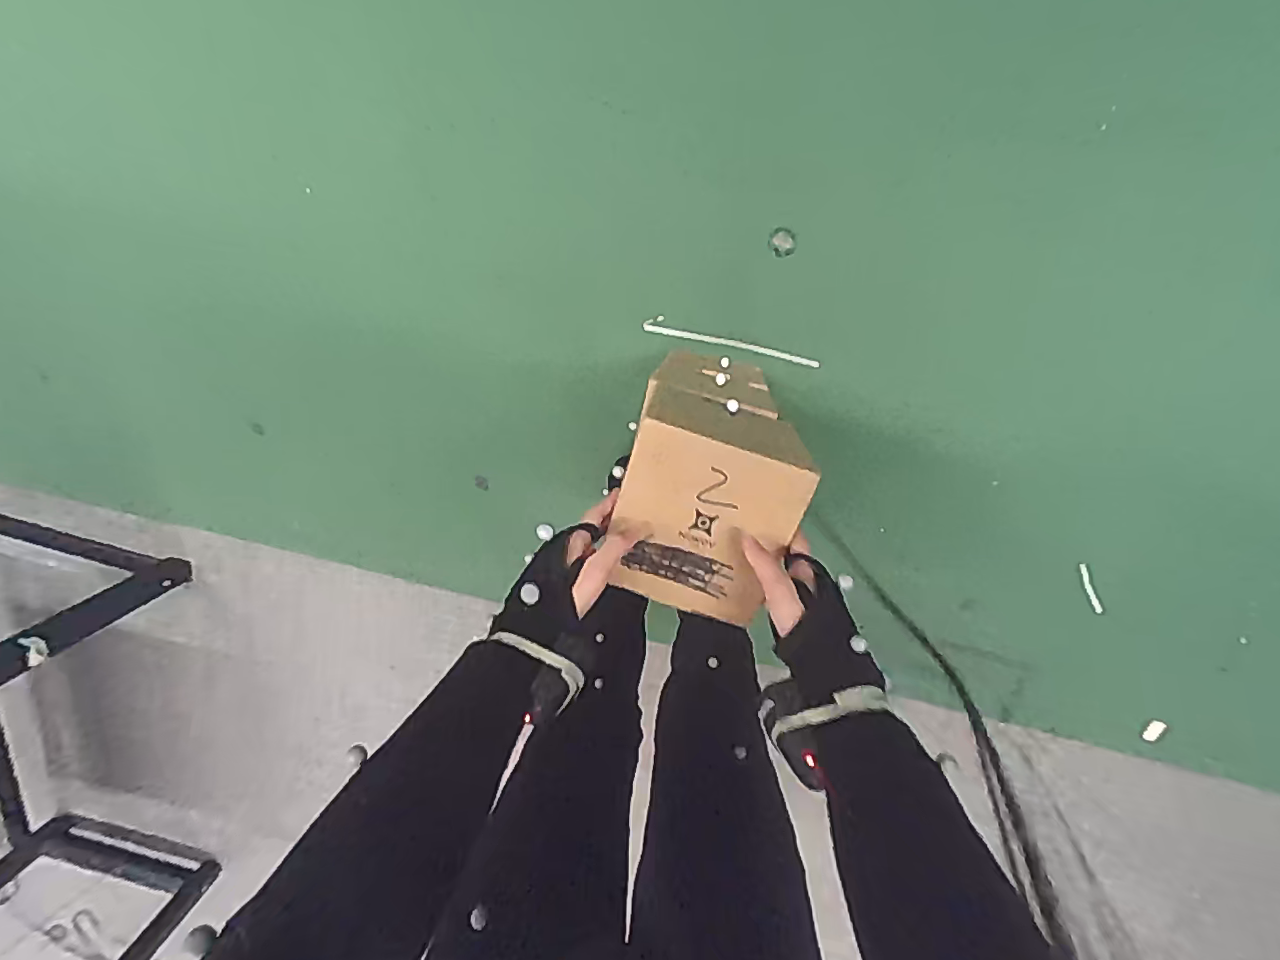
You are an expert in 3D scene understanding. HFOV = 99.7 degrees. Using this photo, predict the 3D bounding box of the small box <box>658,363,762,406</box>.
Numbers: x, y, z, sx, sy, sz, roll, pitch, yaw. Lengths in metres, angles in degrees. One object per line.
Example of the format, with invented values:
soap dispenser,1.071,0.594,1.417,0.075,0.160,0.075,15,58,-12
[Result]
small box,0.106,-0.092,0.930,0.168,0.176,0.179,13,110,4

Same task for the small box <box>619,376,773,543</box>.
small box,0.079,-0.040,0.775,0.168,0.176,0.179,15,111,4
